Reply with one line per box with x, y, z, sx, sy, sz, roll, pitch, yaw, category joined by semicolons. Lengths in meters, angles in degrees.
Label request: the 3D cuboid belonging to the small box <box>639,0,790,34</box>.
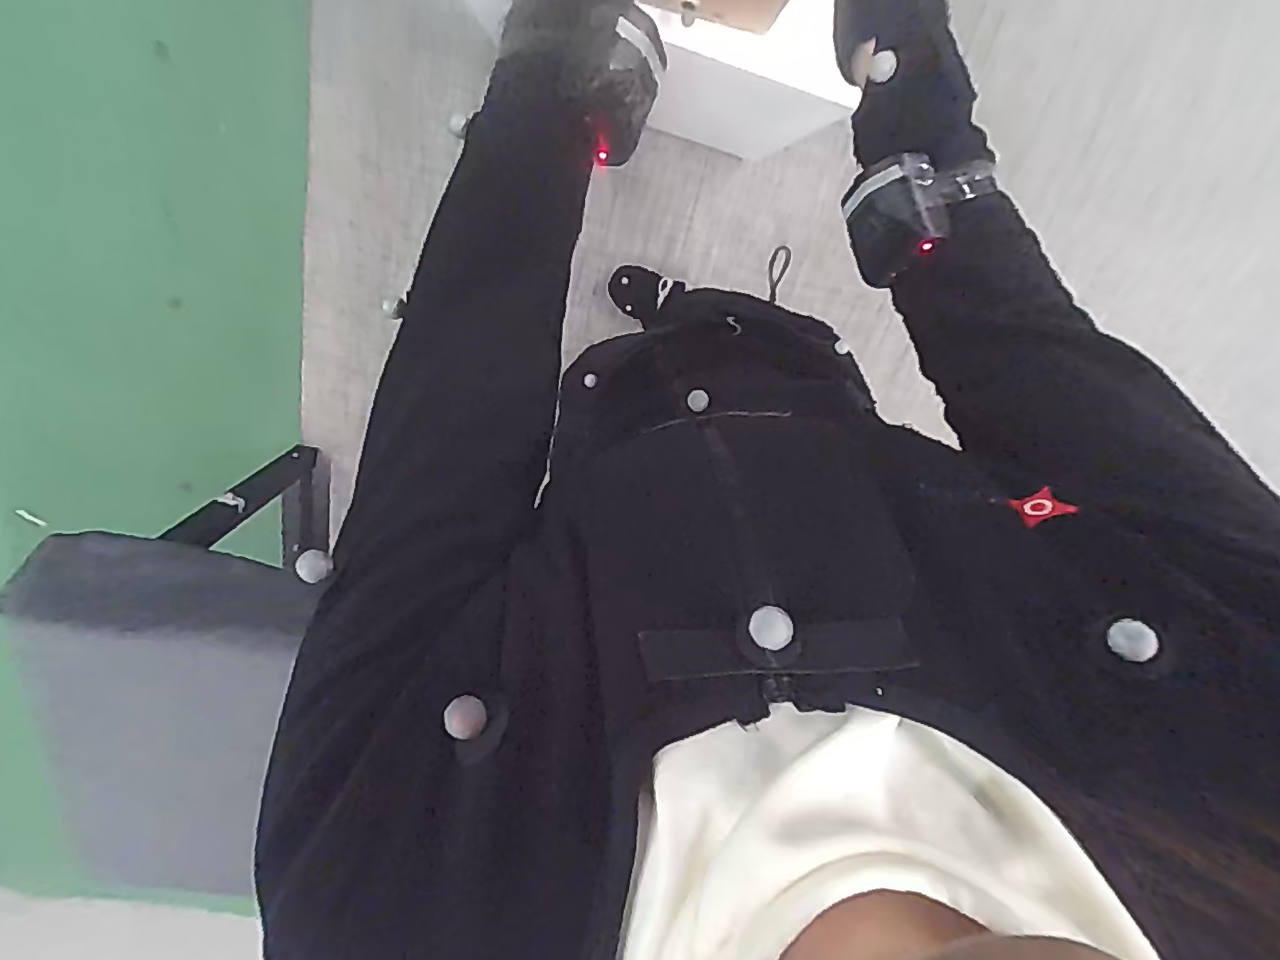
0.082;-0.561;0.500;0.168;0.176;0.179;10;115;-4;small box
